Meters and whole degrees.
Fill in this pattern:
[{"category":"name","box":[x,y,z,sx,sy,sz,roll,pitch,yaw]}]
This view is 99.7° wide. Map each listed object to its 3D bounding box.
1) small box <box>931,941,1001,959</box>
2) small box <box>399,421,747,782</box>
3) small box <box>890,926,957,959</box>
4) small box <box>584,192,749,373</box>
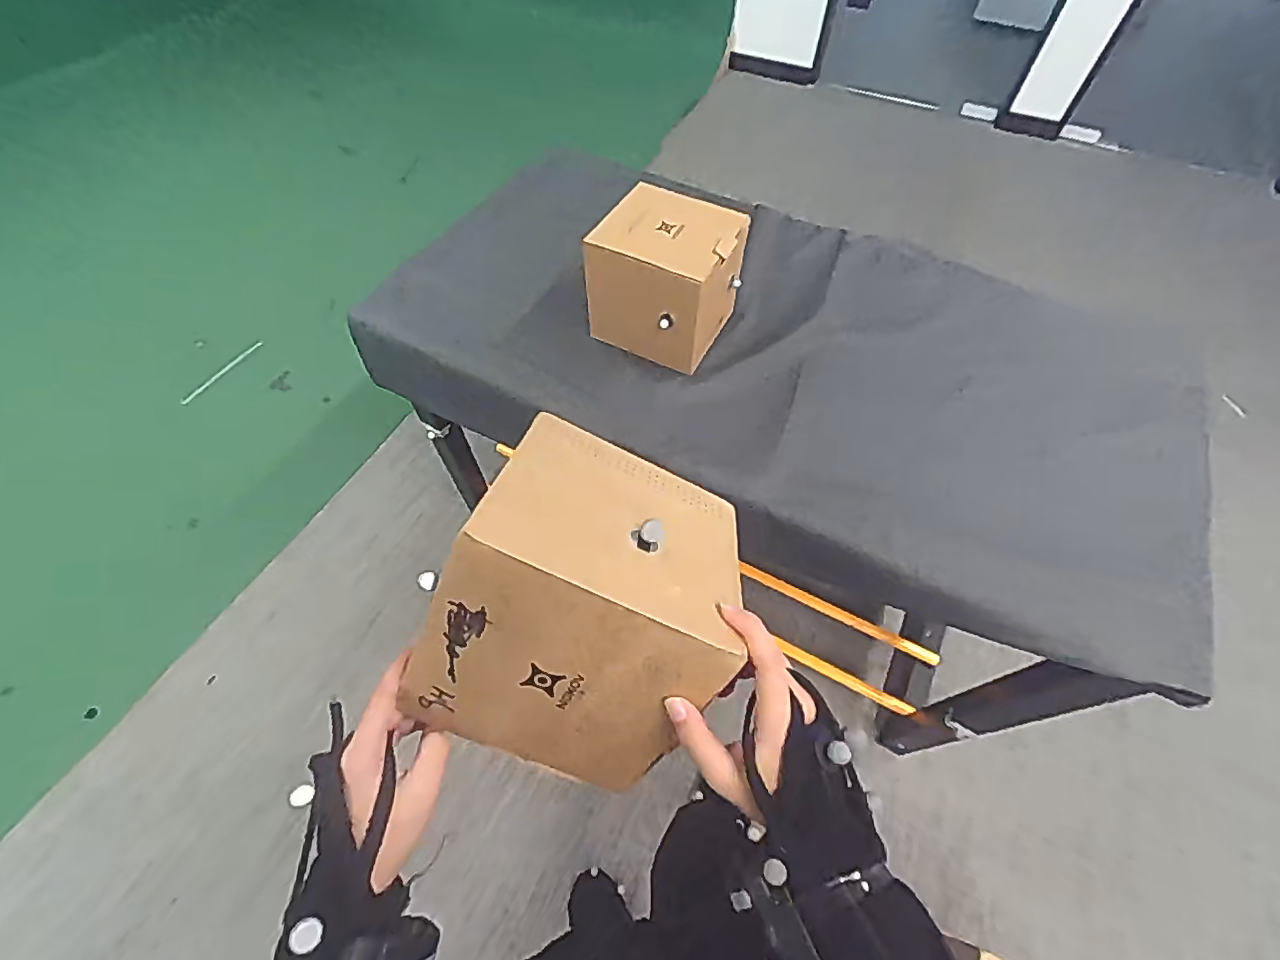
[{"category":"small box","box":[0.523,0.803,0.770,0.179,0.176,0.168,24,60,13]},{"category":"small box","box":[-0.042,0.080,0.404,0.179,0.168,0.176,26,29,-9]},{"category":"small box","box":[0.535,0.894,0.907,0.179,0.176,0.168,25,60,15]},{"category":"small box","box":[0.038,-0.285,0.798,0.179,0.176,0.168,23,58,14]}]
